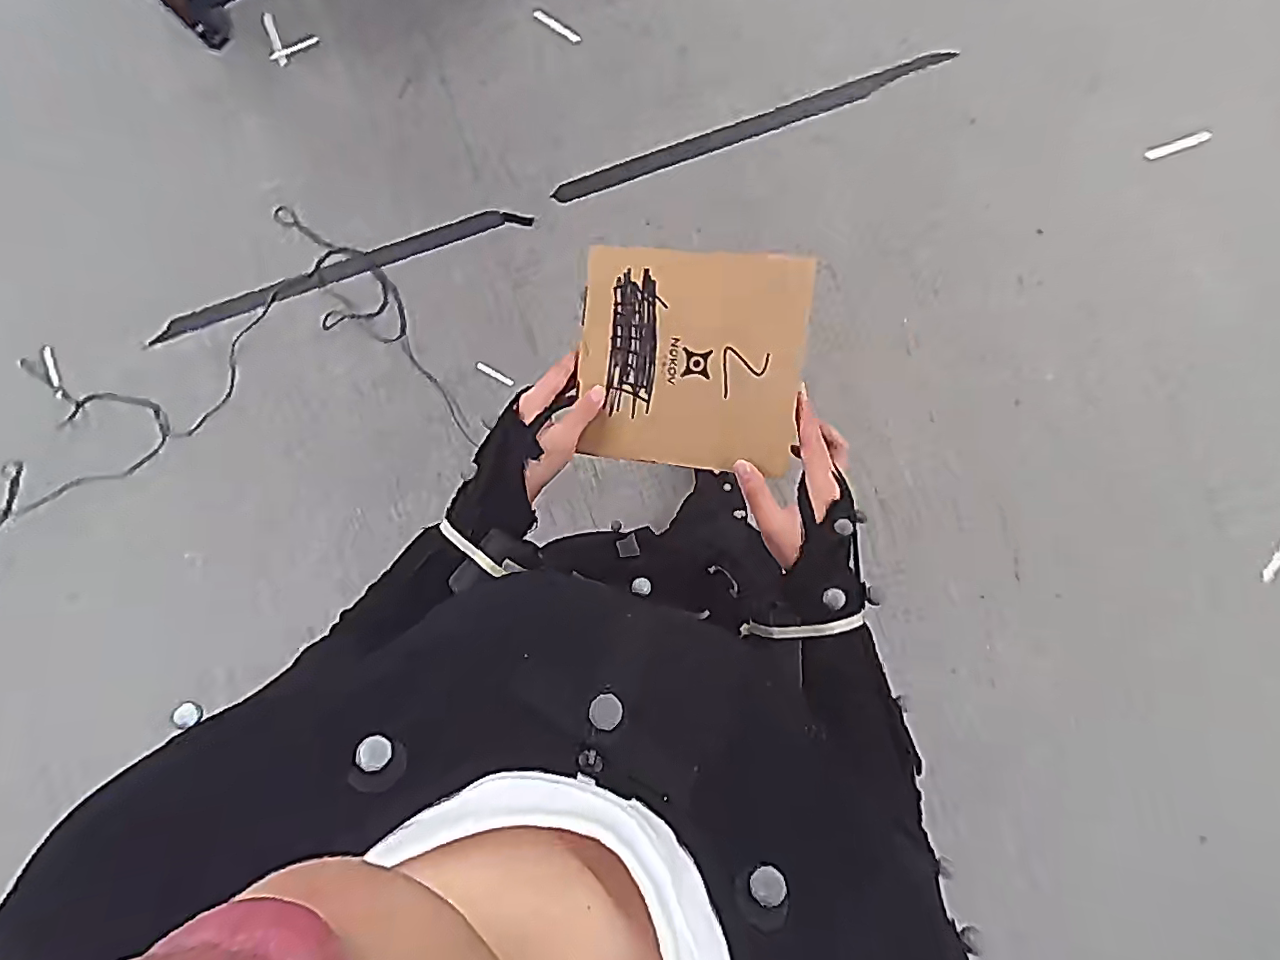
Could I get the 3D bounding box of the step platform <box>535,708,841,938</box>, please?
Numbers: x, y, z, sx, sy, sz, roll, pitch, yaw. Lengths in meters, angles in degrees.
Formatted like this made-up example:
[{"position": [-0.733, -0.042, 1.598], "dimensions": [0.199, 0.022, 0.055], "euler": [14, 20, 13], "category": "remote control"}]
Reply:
[{"position": [0.104, 0.791, 1.266], "dimensions": [0.684, 0.204, 0.286], "euler": [-18, 89, 2], "category": "step platform"}]
